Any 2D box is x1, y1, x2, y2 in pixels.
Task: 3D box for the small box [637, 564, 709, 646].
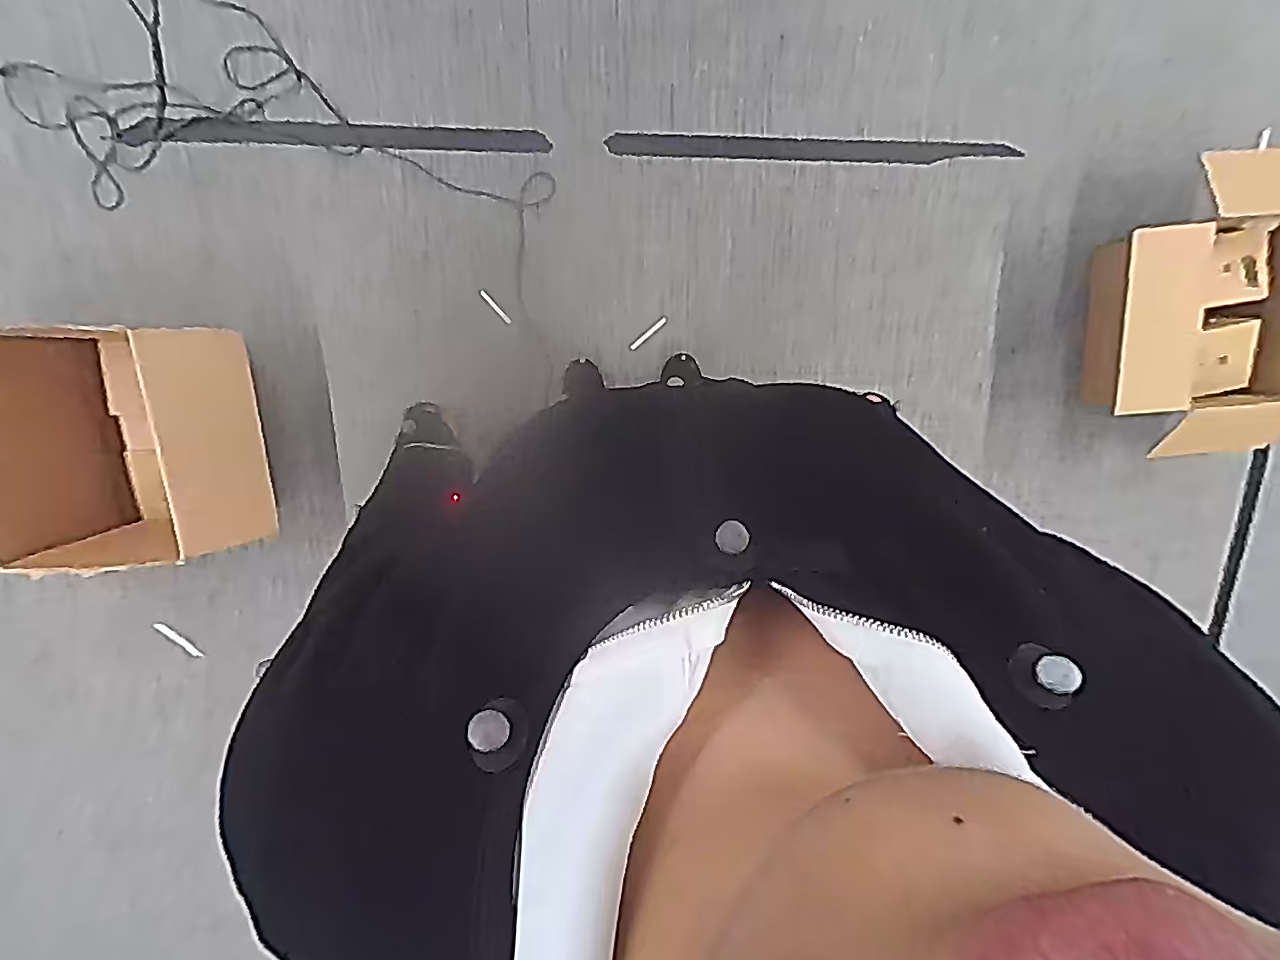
[{"bbox_3d":[0.084,0.329,1.450,0.179,0.176,0.168,1,100,-1],"label":"small box"}]
